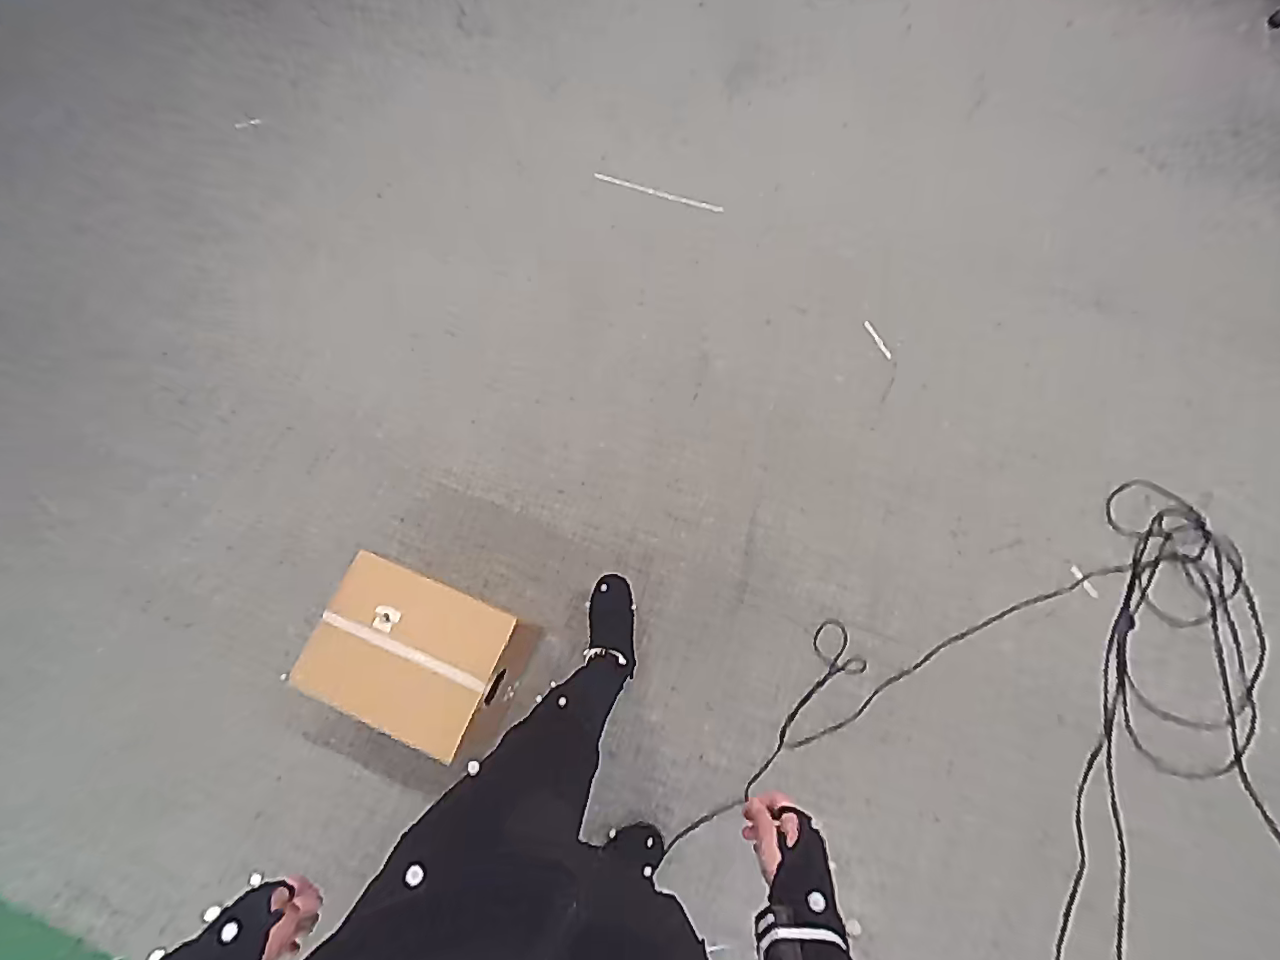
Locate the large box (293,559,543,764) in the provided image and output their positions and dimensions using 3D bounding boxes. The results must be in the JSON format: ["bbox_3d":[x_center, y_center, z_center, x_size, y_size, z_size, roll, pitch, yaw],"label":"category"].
[{"bbox_3d":[-0.500,0.427,1.310,0.408,0.320,0.320,21,73,9],"label":"large box"}]
